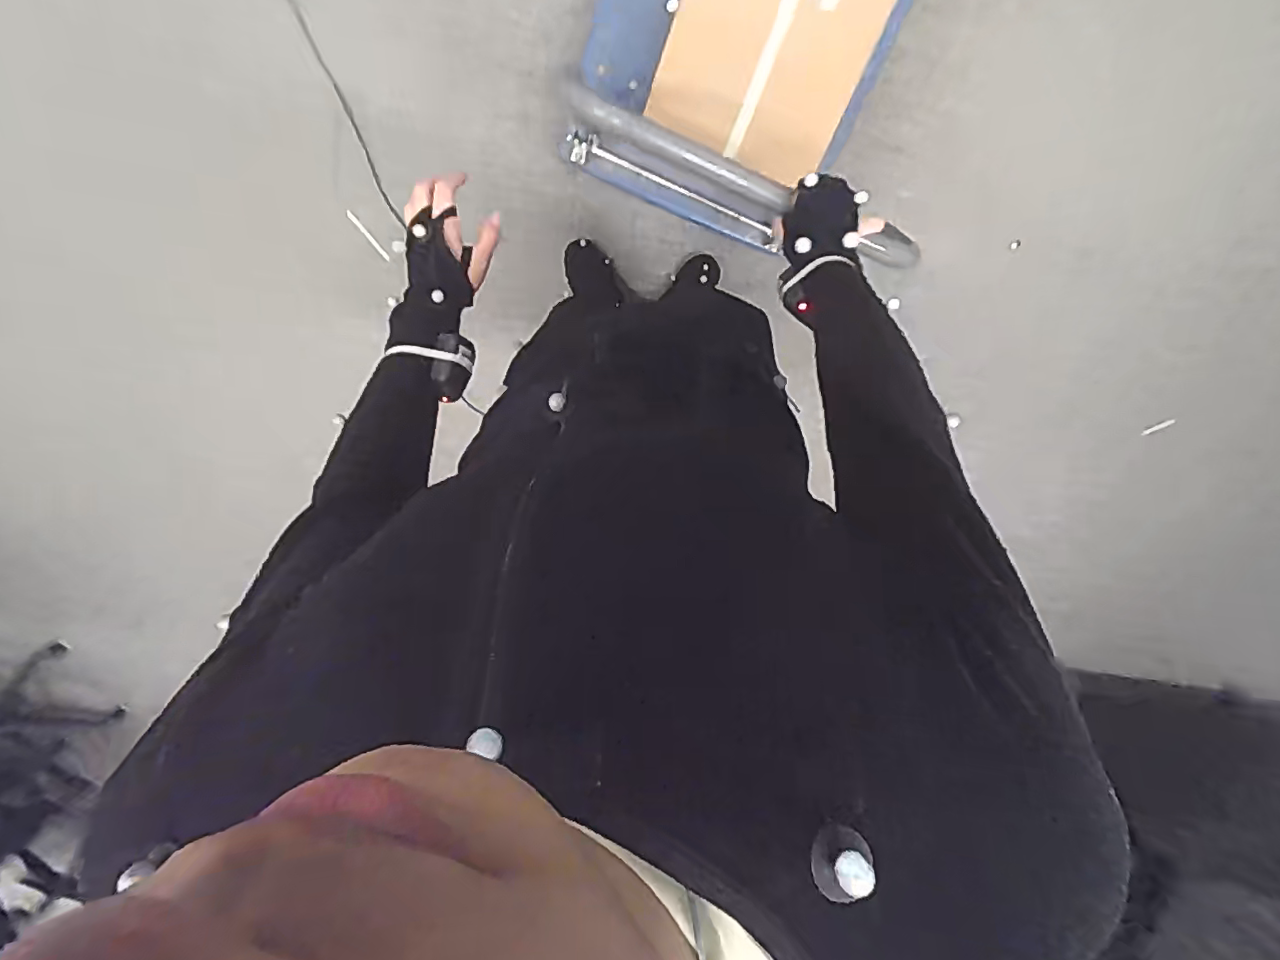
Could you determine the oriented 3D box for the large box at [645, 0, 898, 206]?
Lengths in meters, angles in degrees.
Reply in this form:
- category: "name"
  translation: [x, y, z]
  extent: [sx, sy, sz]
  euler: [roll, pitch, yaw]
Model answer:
- category: "large box"
  translation: [0.216, -0.766, 0.991]
  extent: [0.320, 0.320, 0.408]
  euler: [18, 115, -11]
